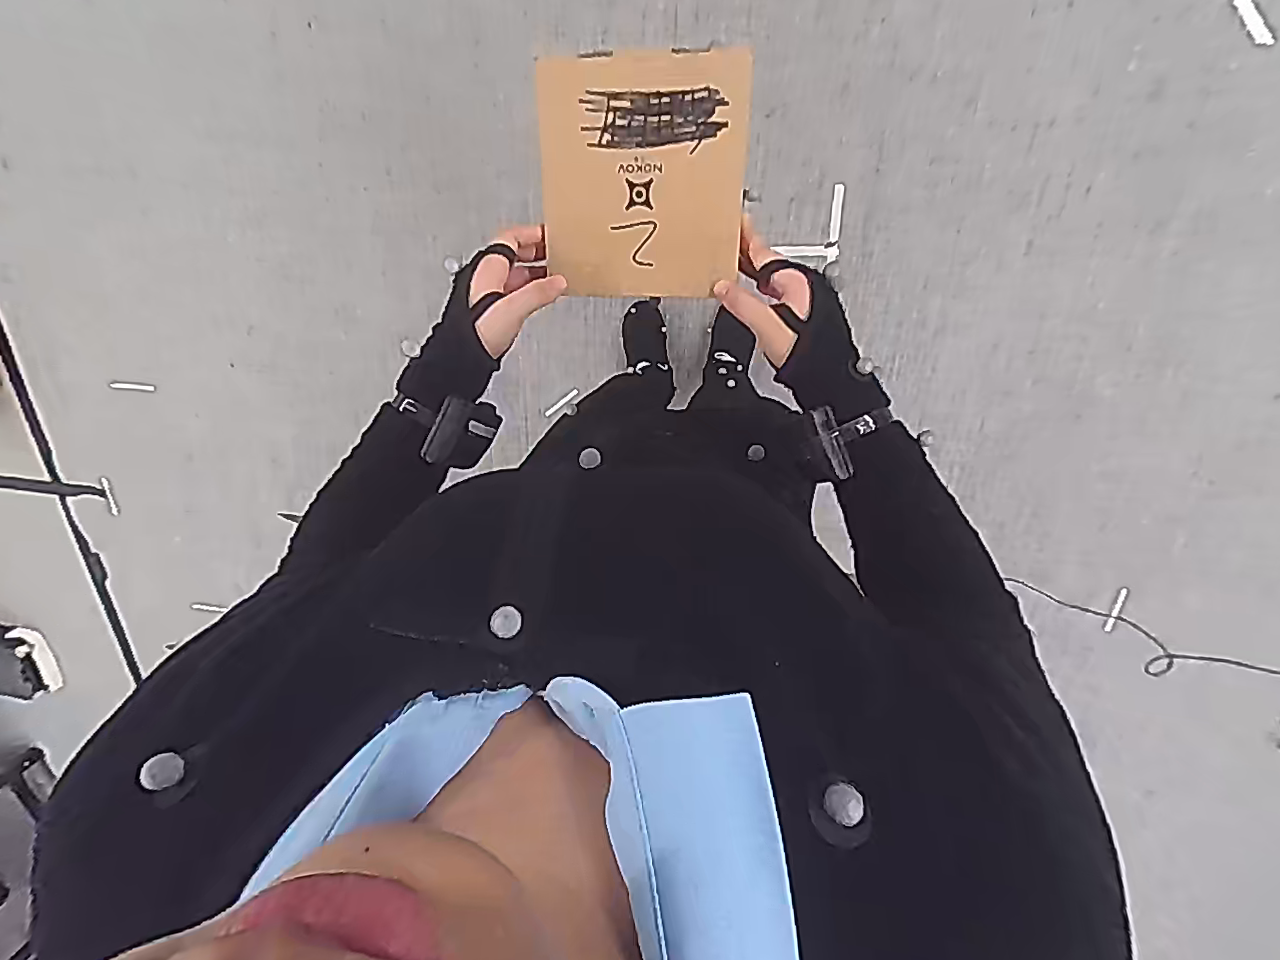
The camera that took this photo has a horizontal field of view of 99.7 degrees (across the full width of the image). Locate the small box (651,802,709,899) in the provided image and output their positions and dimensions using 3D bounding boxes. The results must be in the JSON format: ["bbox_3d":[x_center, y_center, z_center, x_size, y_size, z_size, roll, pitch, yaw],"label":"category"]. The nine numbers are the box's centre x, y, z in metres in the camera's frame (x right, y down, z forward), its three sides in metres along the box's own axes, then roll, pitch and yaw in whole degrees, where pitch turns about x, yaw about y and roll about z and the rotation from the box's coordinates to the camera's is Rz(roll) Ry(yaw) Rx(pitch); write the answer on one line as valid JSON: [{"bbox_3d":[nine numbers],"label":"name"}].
[{"bbox_3d":[0.124,1.131,1.659,0.168,0.176,0.179,2,111,7],"label":"small box"}]

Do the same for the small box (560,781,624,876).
[{"bbox_3d":[-0.143,1.078,1.680,0.168,0.176,0.179,3,111,7],"label":"small box"}]
